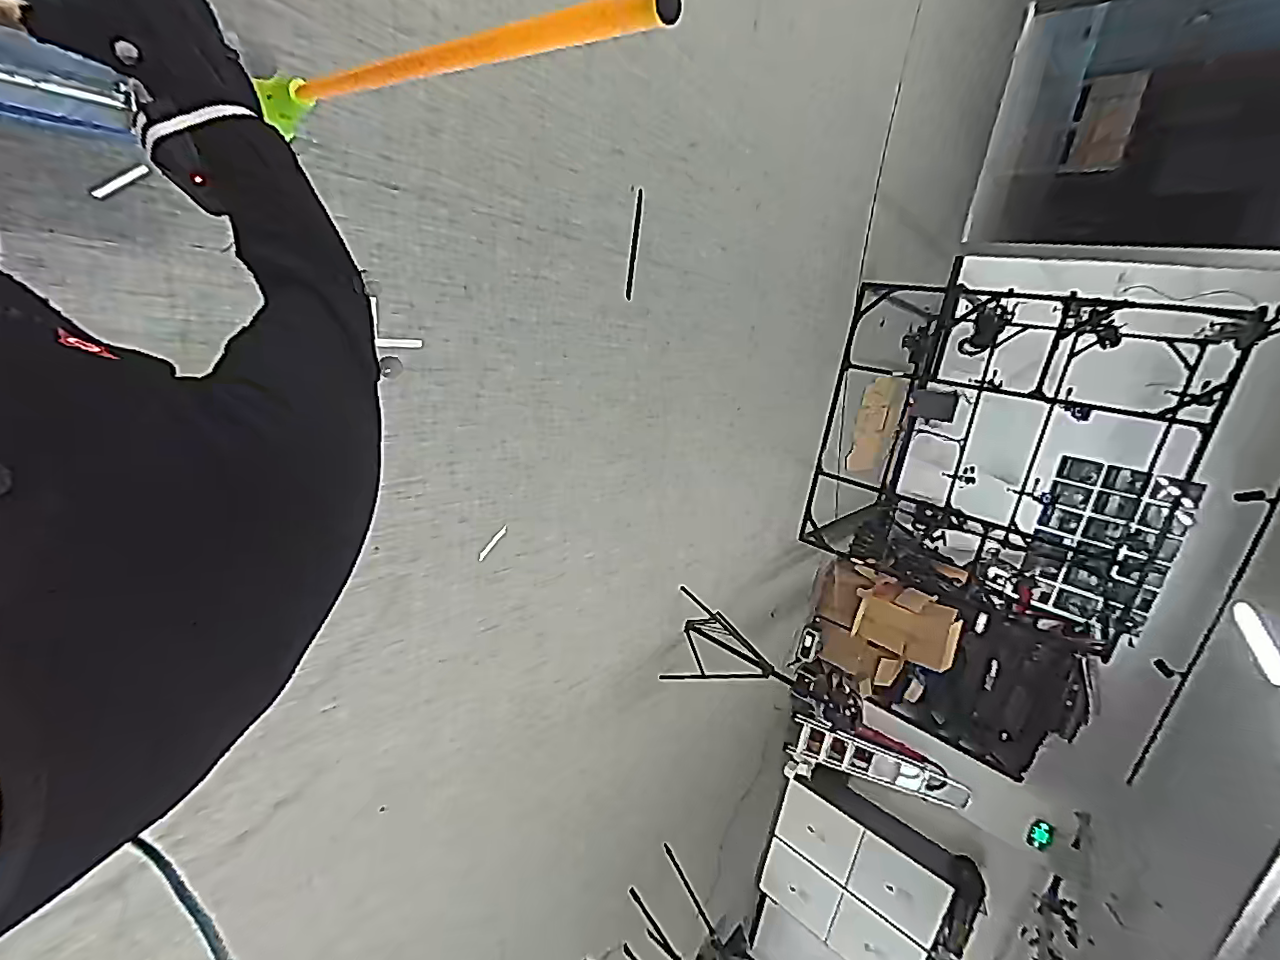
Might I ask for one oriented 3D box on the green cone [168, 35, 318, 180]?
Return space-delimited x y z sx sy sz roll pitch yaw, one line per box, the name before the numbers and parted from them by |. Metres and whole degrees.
green cone | -0.701 -0.699 1.004 0.202 0.368 0.200 -6 112 -52
